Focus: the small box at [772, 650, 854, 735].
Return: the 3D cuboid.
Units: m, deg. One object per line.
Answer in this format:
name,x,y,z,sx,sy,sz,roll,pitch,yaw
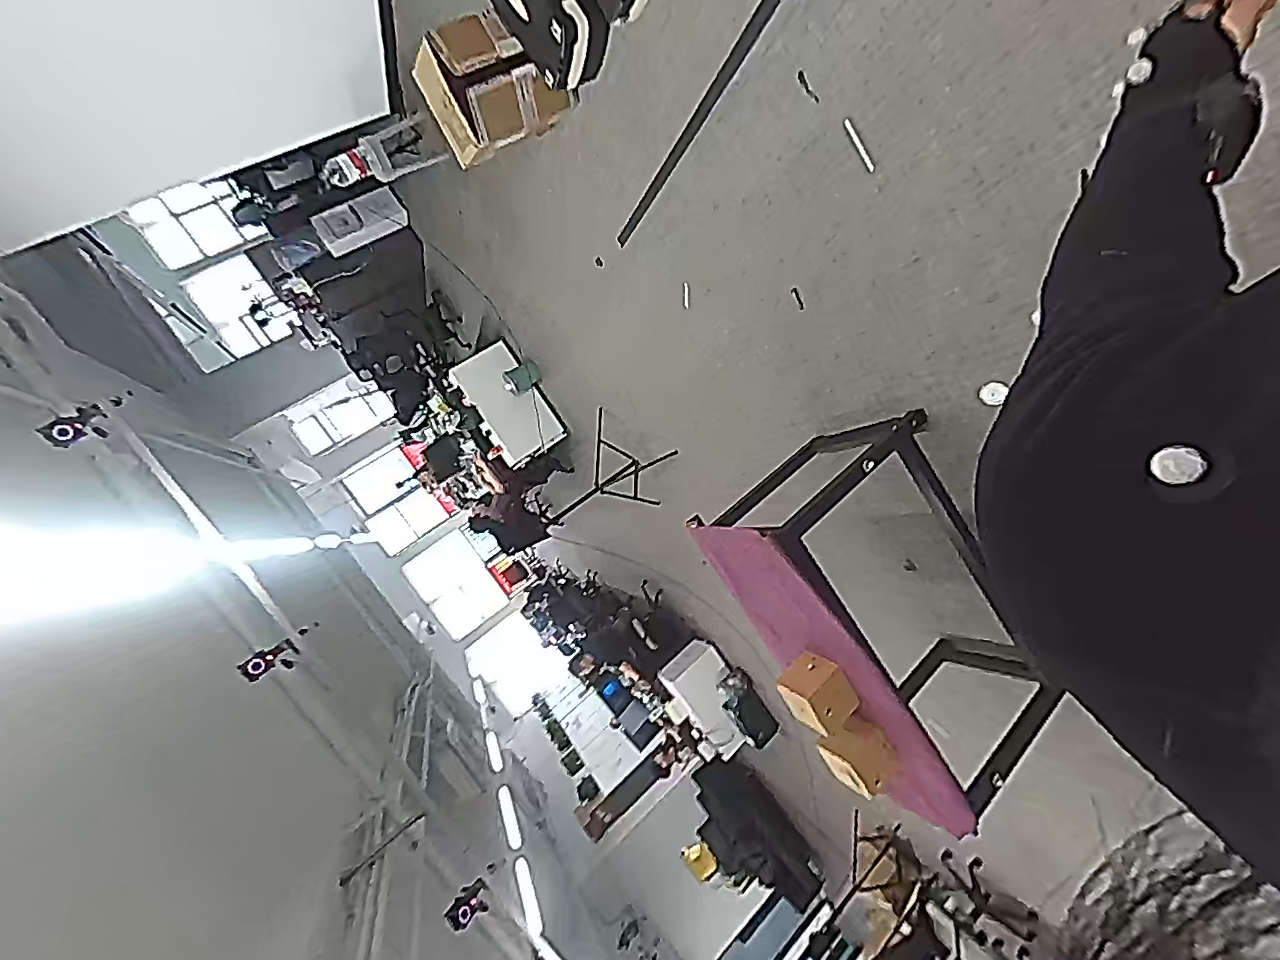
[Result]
small box,0.594,0.716,1.840,0.179,0.176,0.168,59,160,-15
